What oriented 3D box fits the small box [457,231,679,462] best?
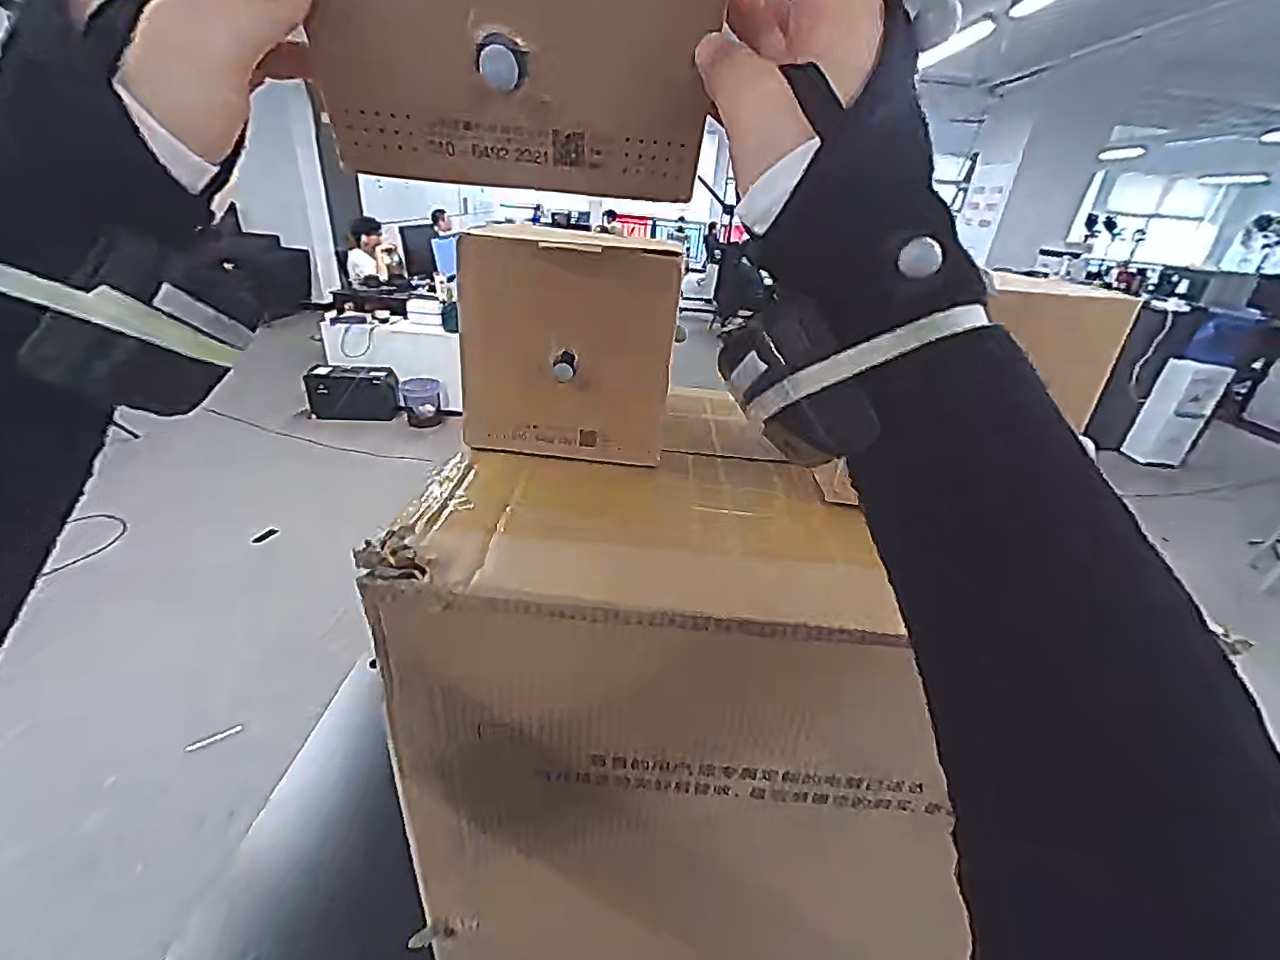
[{"bbox_3d":[-0.055,-0.128,0.501,0.168,0.176,0.179,6,27,-1],"label":"small box"}]

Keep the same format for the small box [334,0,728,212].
[{"bbox_3d":[-0.049,-0.260,0.267,0.168,0.176,0.179,2,49,-6],"label":"small box"}]

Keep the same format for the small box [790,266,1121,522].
[{"bbox_3d":[0.236,-0.083,0.467,0.168,0.176,0.179,4,27,2],"label":"small box"}]
